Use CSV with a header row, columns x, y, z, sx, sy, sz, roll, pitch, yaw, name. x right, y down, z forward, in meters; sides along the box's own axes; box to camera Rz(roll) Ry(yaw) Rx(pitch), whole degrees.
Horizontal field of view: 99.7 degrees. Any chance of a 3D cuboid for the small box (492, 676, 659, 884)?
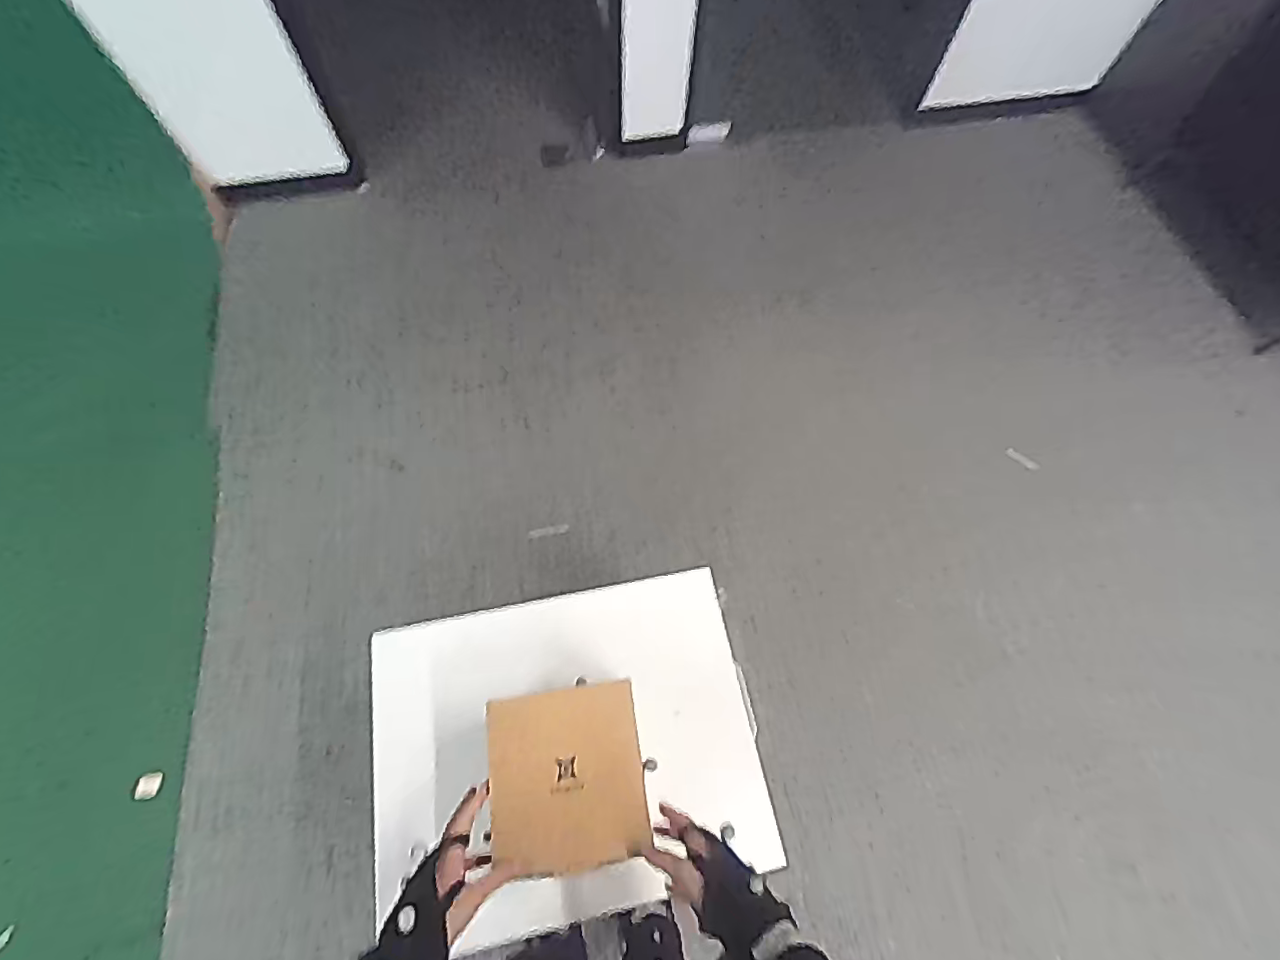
x,y,z,sx,sy,sz,roll,pitch,yaw,name
-0.076,0.346,0.649,0.168,0.176,0.179,-9,66,-5,small box
